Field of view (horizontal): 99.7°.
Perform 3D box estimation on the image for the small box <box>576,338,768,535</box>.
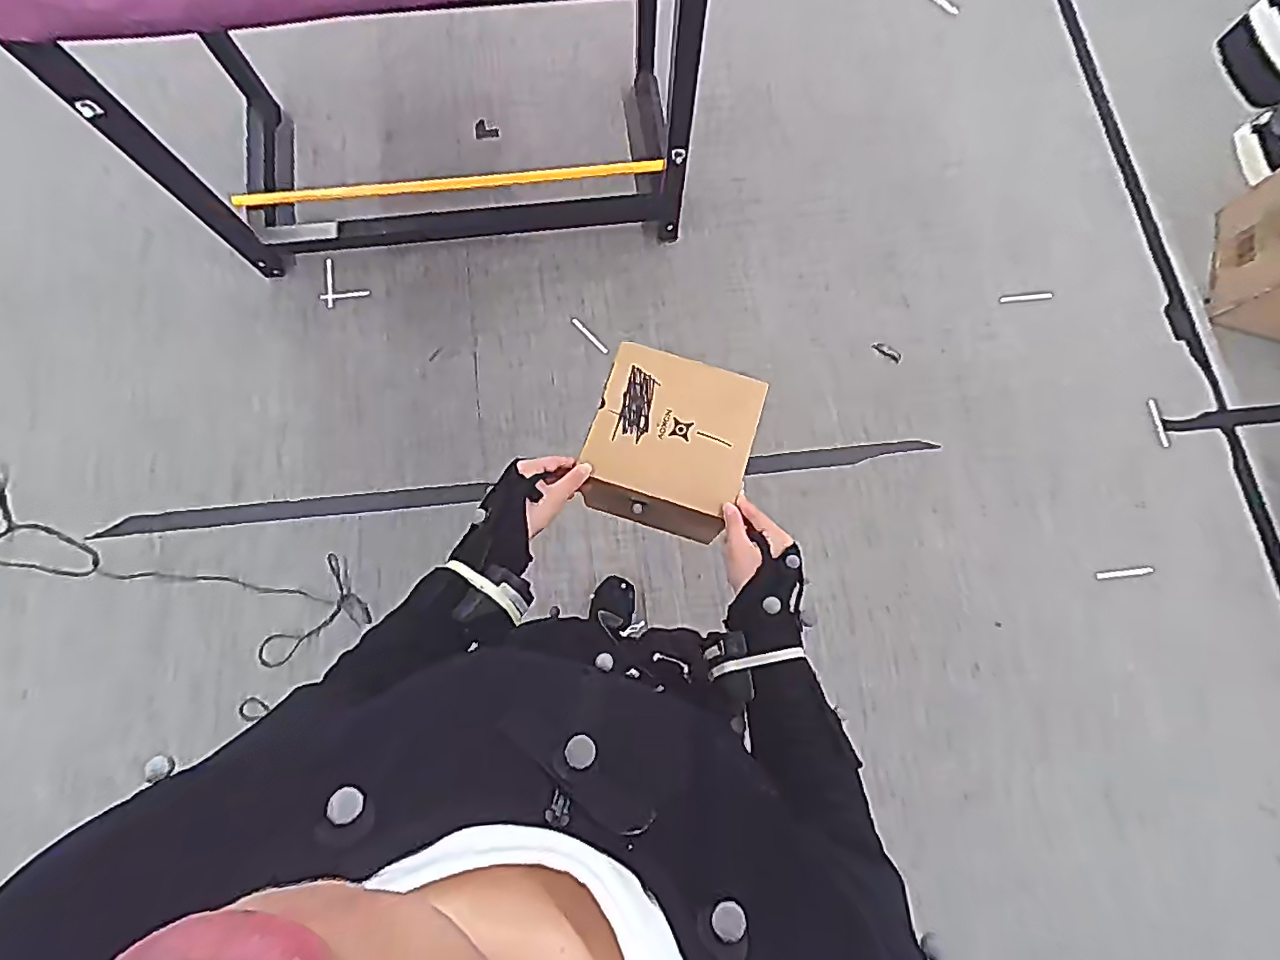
[{"bbox_3d":[0.035,-0.041,0.664,0.179,0.176,0.168,18,75,3],"label":"small box"}]
